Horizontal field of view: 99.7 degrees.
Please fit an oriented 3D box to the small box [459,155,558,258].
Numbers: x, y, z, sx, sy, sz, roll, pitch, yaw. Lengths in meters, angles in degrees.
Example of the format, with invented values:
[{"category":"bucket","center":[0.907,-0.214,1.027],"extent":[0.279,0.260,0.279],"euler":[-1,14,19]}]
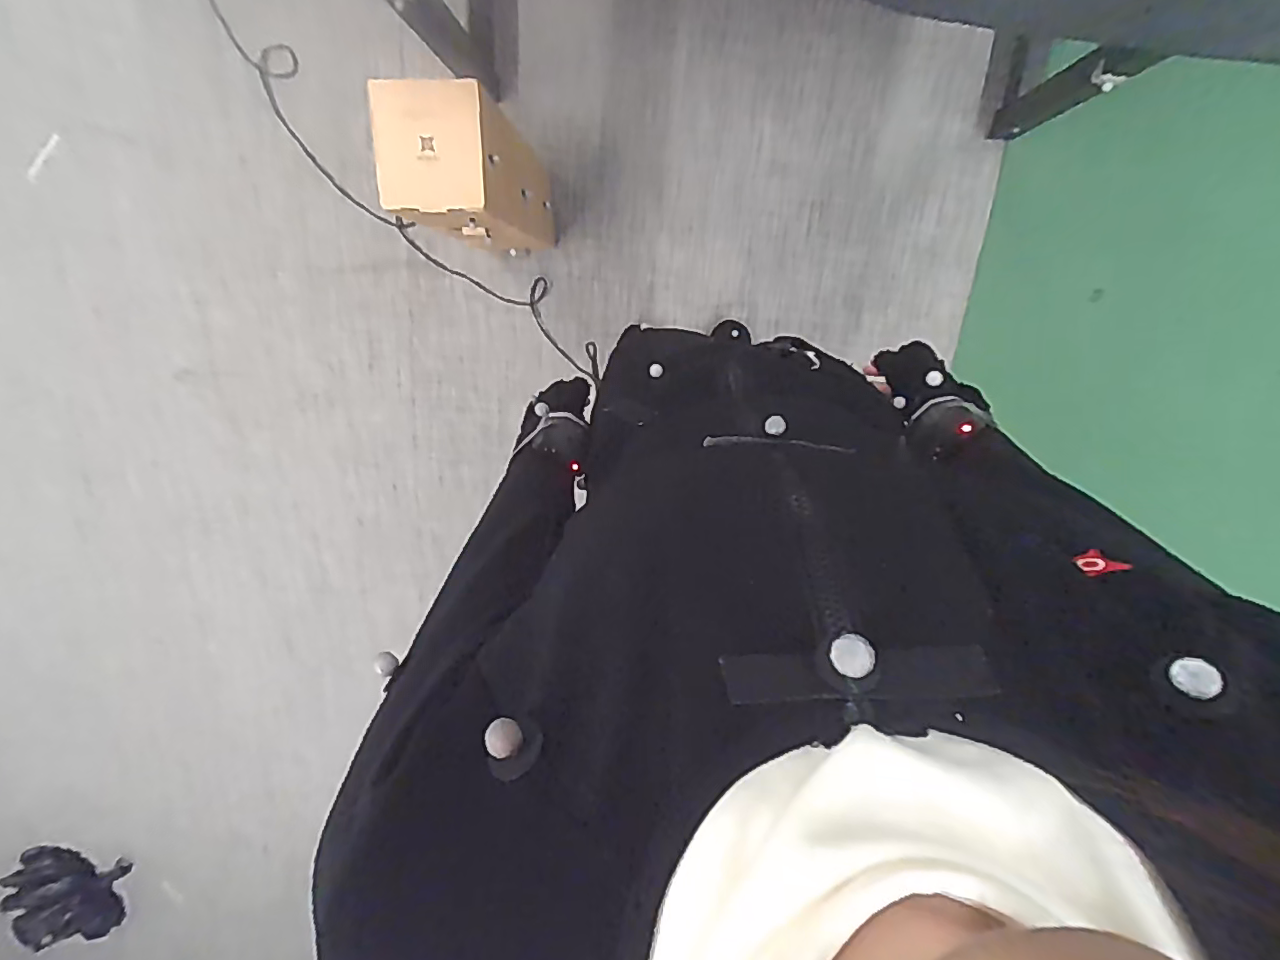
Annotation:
[{"category":"small box","center":[-0.285,-0.600,1.204],"extent":[0.168,0.176,0.179],"euler":[-1,107,4]}]
